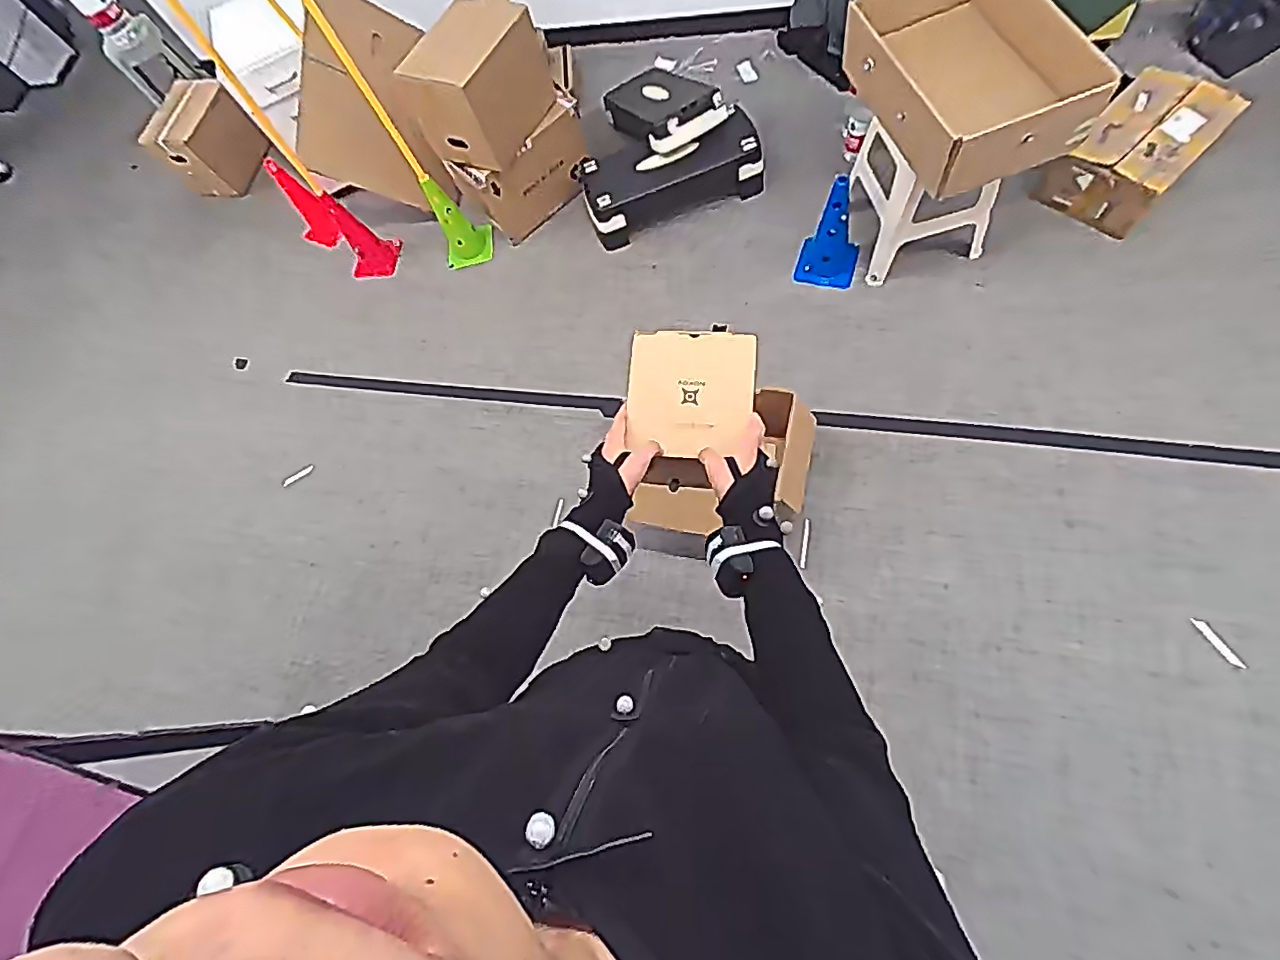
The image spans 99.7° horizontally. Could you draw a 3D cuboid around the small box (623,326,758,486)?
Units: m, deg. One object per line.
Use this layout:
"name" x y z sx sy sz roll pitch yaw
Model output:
"small box" 0.073 -0.100 0.784 0.168 0.176 0.179 4 77 6
